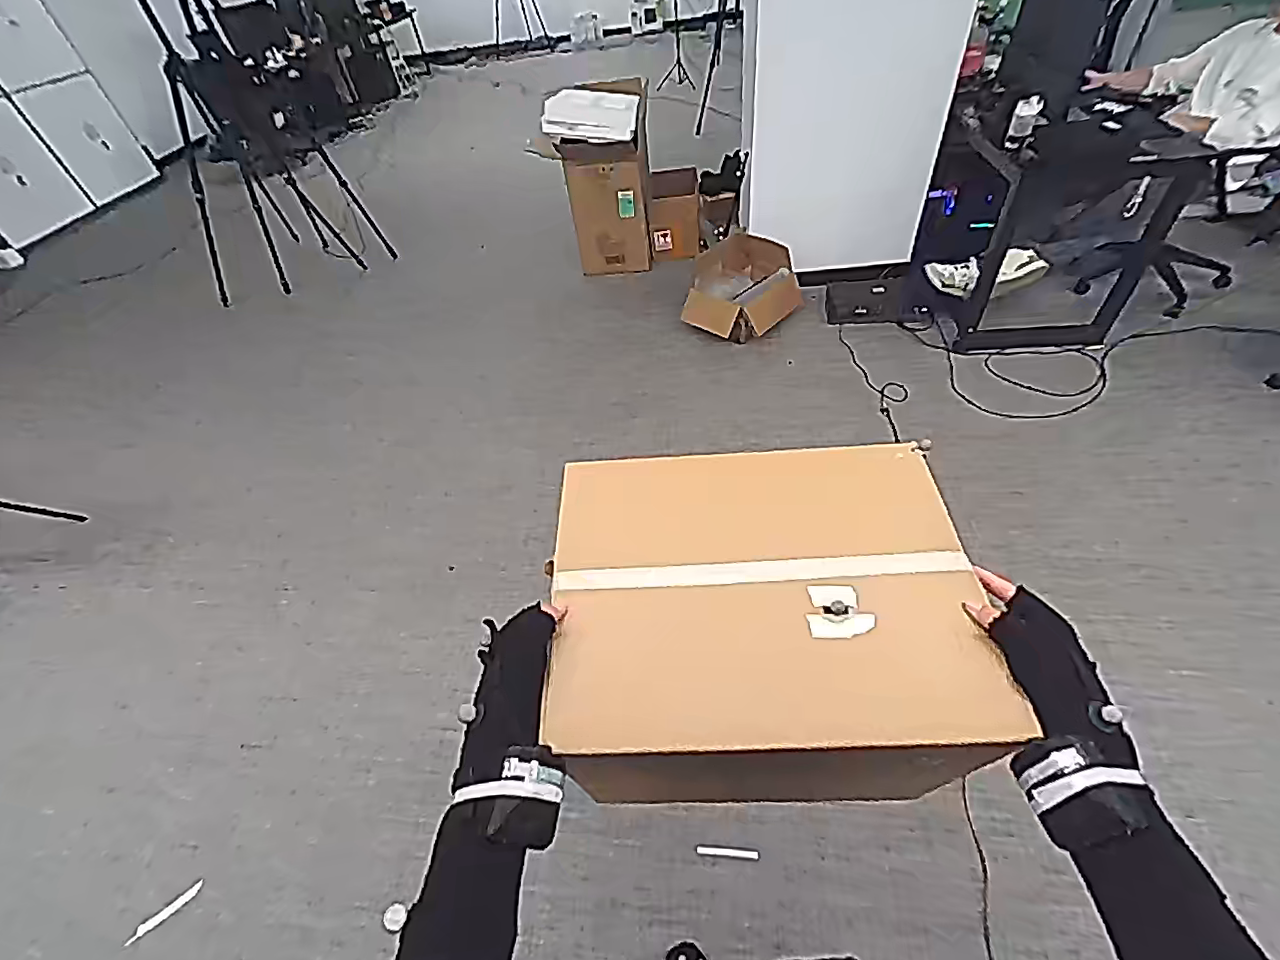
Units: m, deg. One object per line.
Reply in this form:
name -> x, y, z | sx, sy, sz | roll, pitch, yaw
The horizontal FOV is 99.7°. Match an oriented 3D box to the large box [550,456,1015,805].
large box -> 0.124, 0.195, 0.665 | 0.408, 0.320, 0.320 | -3, 53, 3
